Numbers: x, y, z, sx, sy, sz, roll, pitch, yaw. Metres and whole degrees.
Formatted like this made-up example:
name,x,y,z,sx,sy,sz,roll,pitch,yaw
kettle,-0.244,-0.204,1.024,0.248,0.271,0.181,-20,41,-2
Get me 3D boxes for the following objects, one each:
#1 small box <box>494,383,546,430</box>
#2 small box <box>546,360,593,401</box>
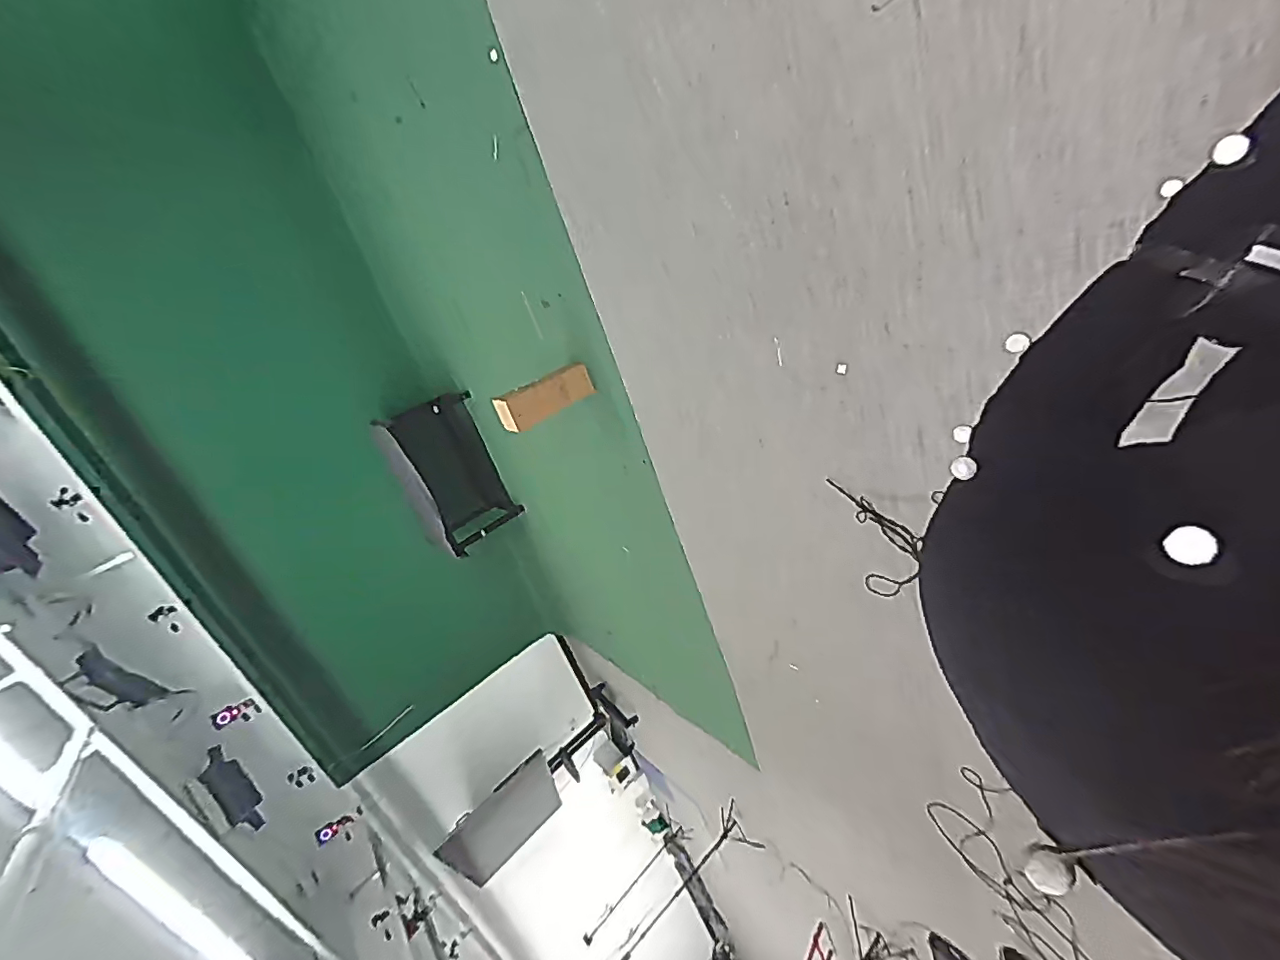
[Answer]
name,x,y,z,sx,sy,sz,roll,pitch,yaw
small box,-0.610,-0.378,2.767,0.168,0.176,0.179,16,133,50
small box,-0.372,-0.542,2.924,0.179,0.176,0.168,14,132,53
